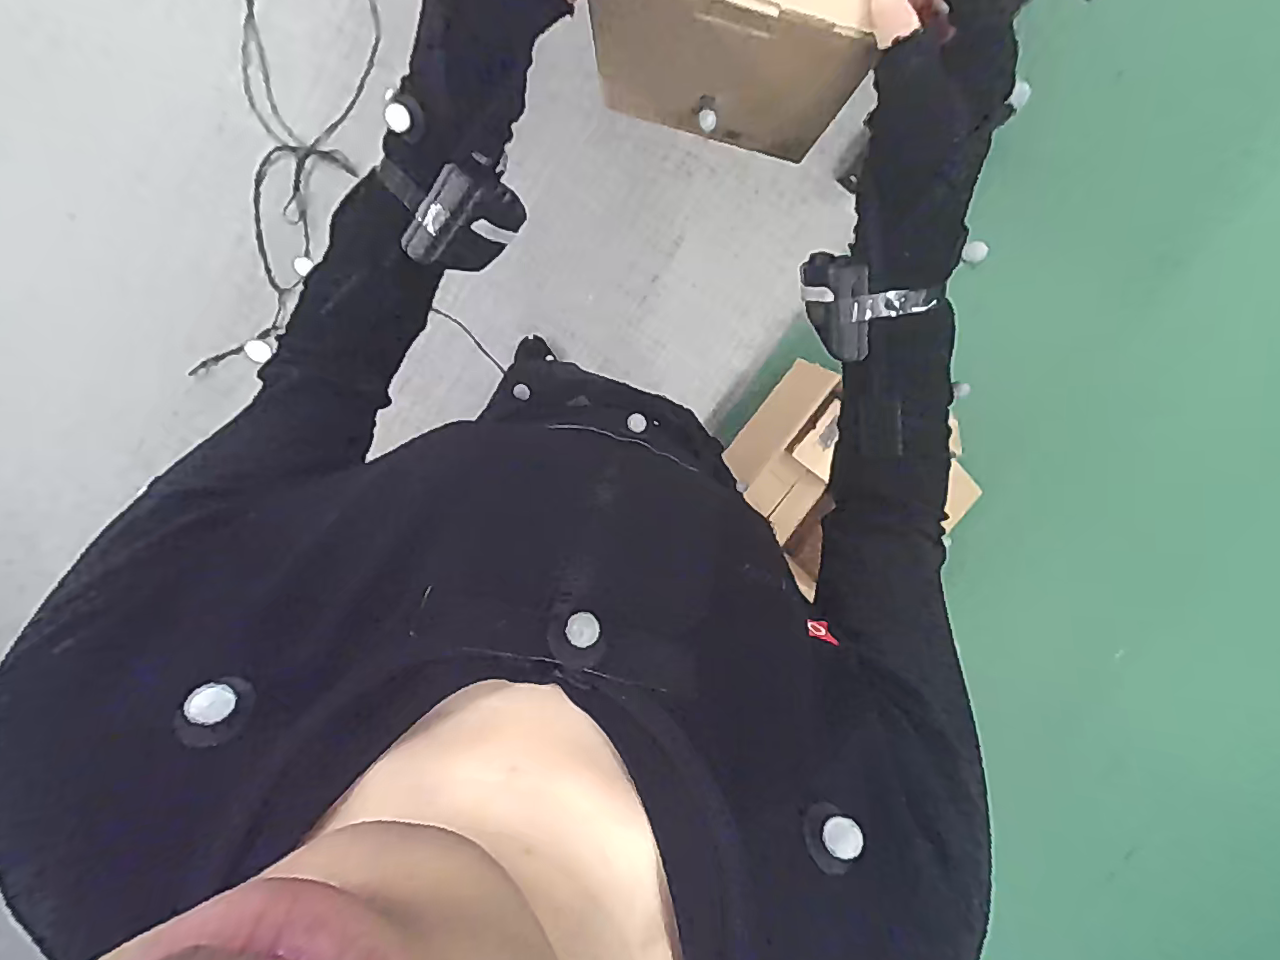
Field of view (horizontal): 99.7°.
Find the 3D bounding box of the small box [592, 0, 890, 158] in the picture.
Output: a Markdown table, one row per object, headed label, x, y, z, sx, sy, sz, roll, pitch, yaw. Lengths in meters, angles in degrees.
| label | x | y | z | sx | sy | sz | roll | pitch | yaw |
| --- | --- | --- | --- | --- | --- | --- | --- | --- | --- |
| small box | 0.065 | -0.343 | 0.338 | 0.168 | 0.176 | 0.179 | 14 | 101 | -3 |
